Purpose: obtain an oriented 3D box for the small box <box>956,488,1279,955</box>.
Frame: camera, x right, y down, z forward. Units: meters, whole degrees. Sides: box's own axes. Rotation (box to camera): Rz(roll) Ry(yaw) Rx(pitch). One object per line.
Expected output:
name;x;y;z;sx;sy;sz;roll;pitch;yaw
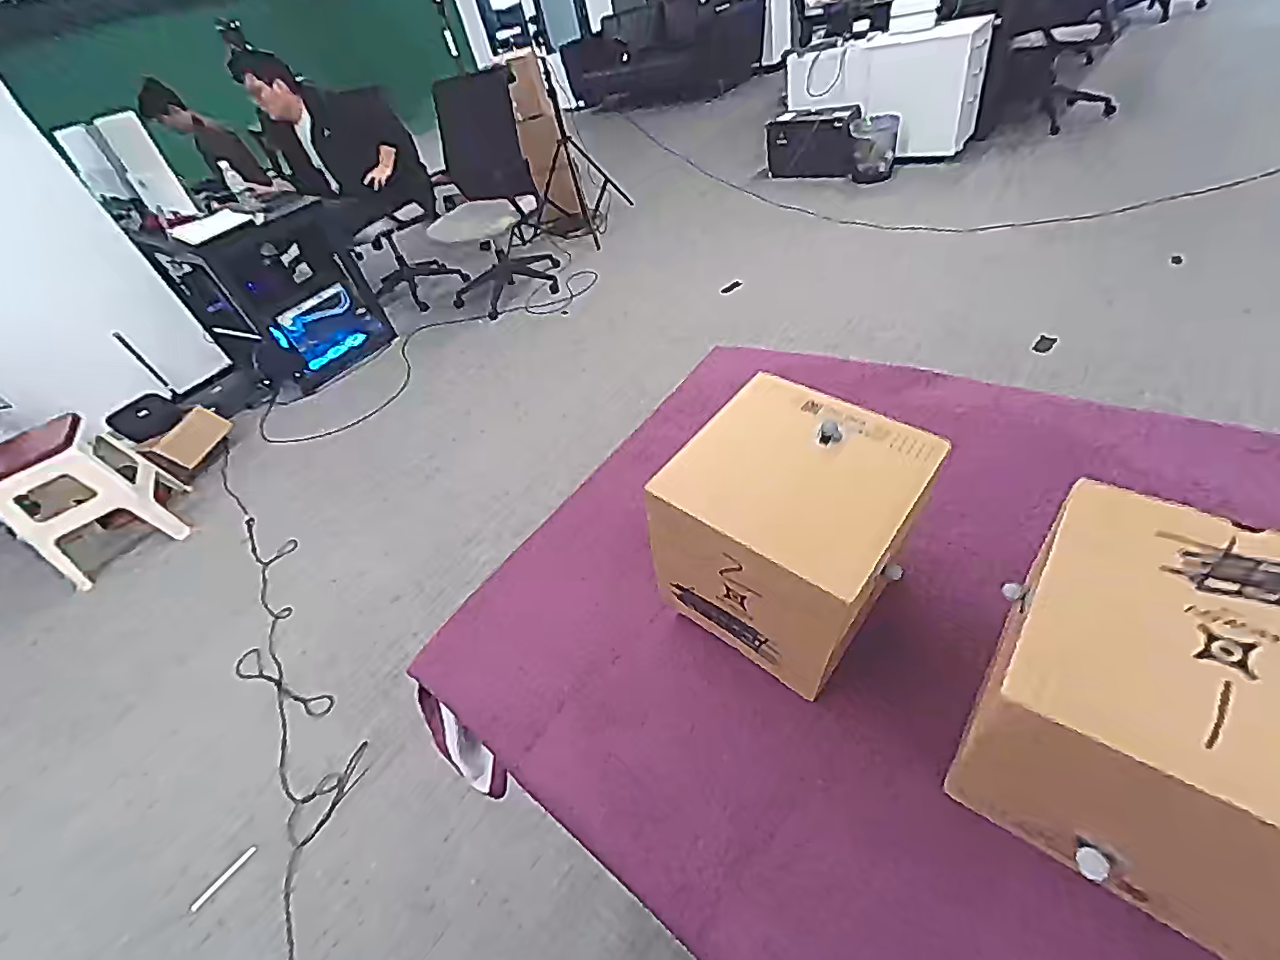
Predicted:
small box;0.323;0.141;0.339;0.168;0.176;0.179;22;55;34
